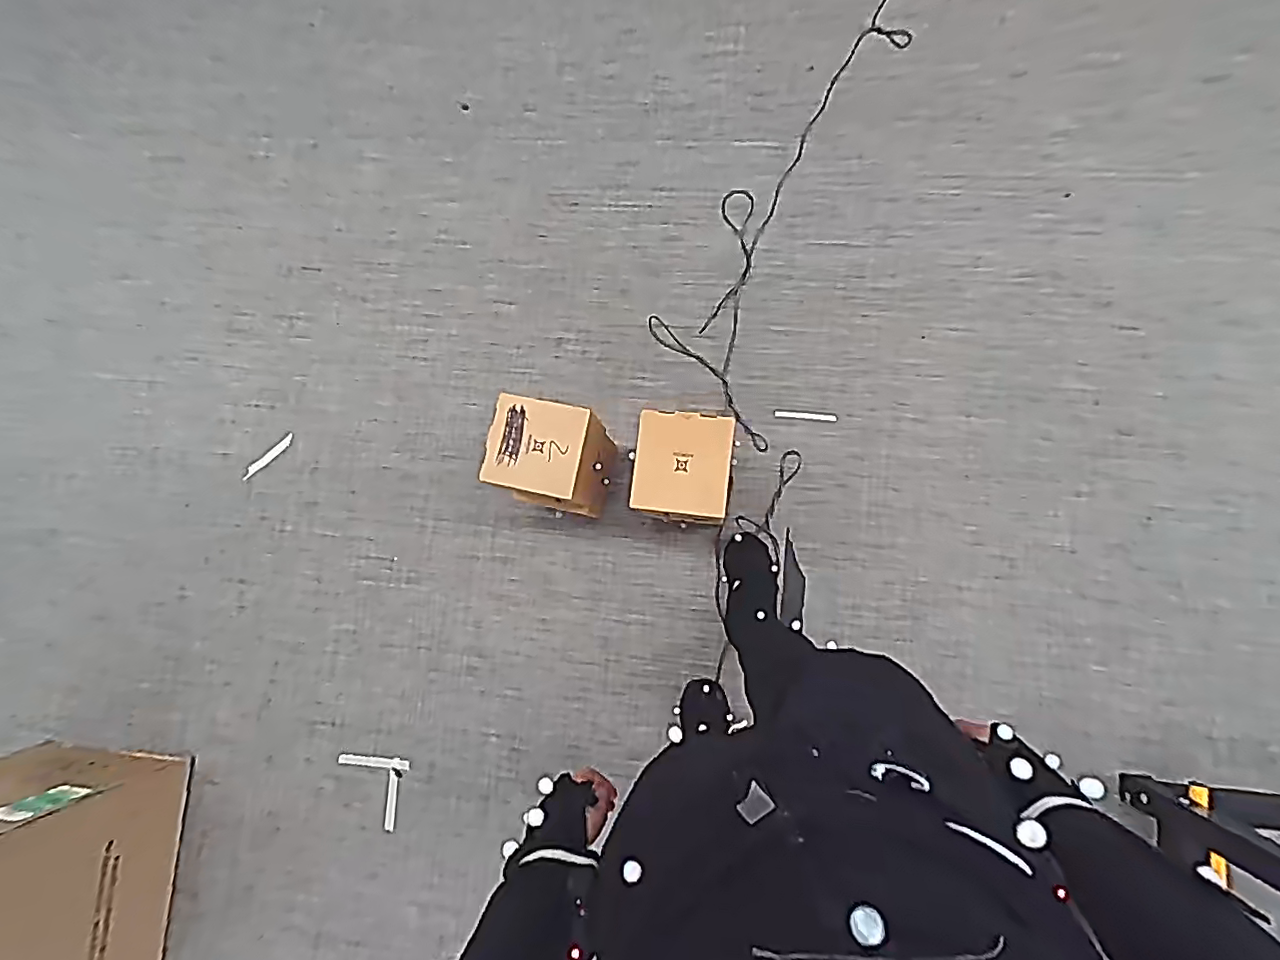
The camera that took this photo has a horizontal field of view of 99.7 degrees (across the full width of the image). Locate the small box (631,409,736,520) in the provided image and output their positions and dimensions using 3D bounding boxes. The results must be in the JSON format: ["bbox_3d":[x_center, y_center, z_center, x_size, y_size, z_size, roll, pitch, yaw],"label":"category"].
[{"bbox_3d":[0.086,-0.021,1.006,0.168,0.176,0.179,6,83,8],"label":"small box"}]

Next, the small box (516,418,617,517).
[{"bbox_3d":[-0.154,-0.022,1.197,0.168,0.176,0.179,12,86,8],"label":"small box"}]
